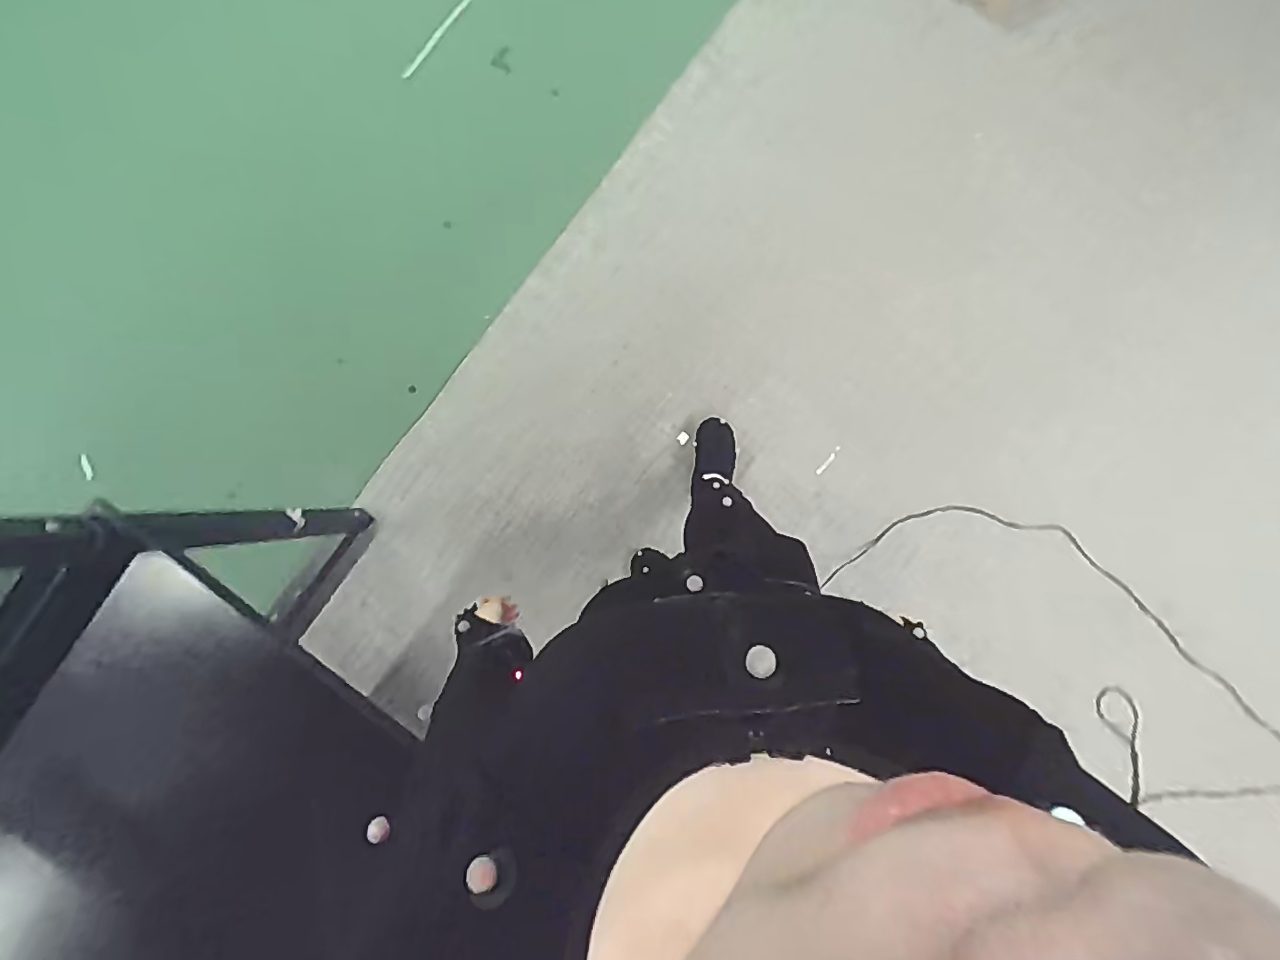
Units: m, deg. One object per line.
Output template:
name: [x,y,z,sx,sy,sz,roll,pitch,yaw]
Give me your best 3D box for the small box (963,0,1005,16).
small box: [0.981,-1.435,1.464,0.168,0.176,0.179,33,88,3]
